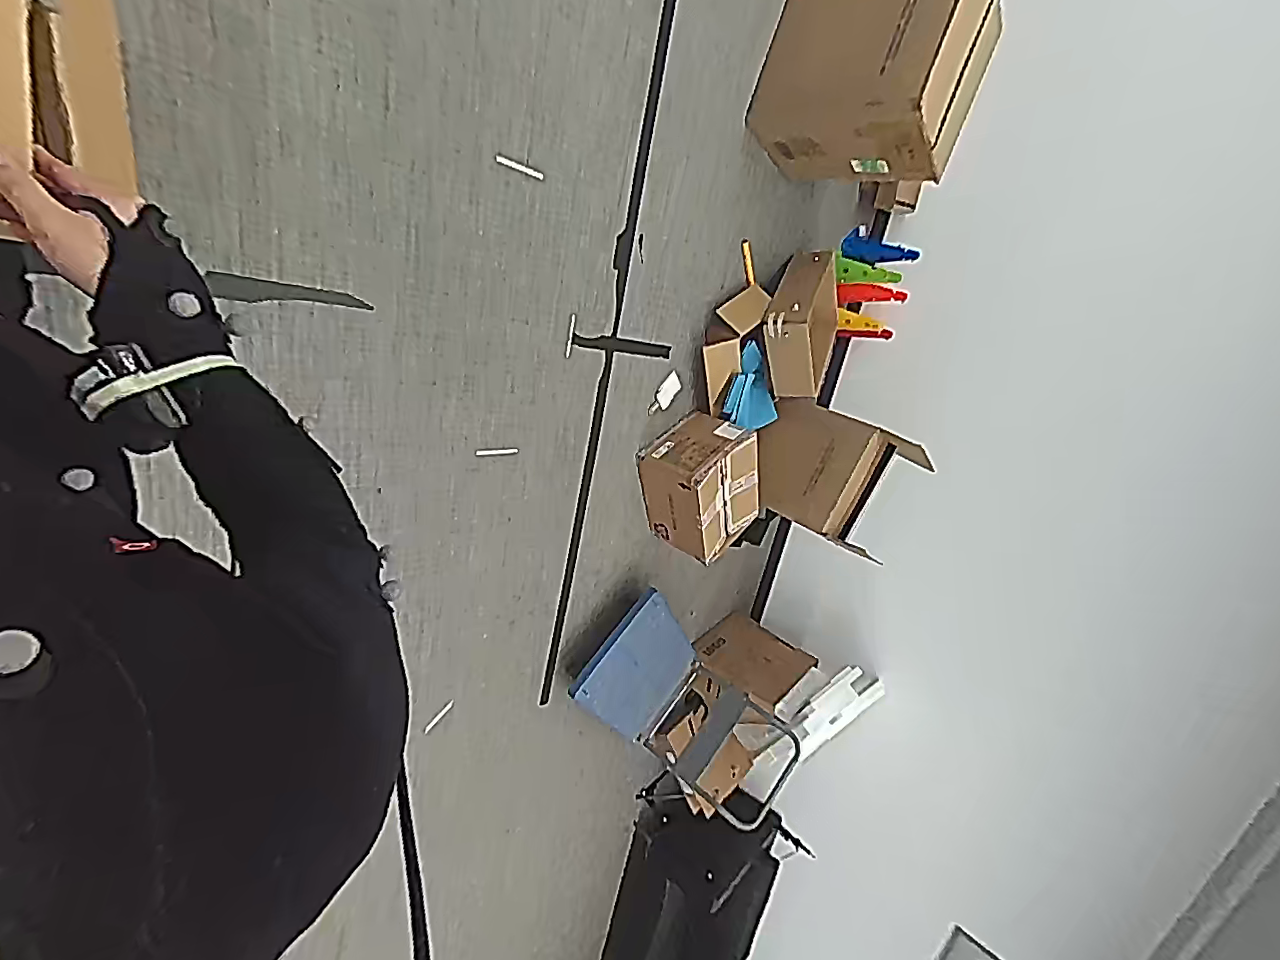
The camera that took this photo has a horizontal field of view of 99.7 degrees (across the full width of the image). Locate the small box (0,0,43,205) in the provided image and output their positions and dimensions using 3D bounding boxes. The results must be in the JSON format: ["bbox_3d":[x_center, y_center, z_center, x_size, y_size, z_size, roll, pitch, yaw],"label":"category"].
[{"bbox_3d":[-0.469,-0.277,0.309,0.168,0.176,0.179,-2,109,-49],"label":"small box"}]
